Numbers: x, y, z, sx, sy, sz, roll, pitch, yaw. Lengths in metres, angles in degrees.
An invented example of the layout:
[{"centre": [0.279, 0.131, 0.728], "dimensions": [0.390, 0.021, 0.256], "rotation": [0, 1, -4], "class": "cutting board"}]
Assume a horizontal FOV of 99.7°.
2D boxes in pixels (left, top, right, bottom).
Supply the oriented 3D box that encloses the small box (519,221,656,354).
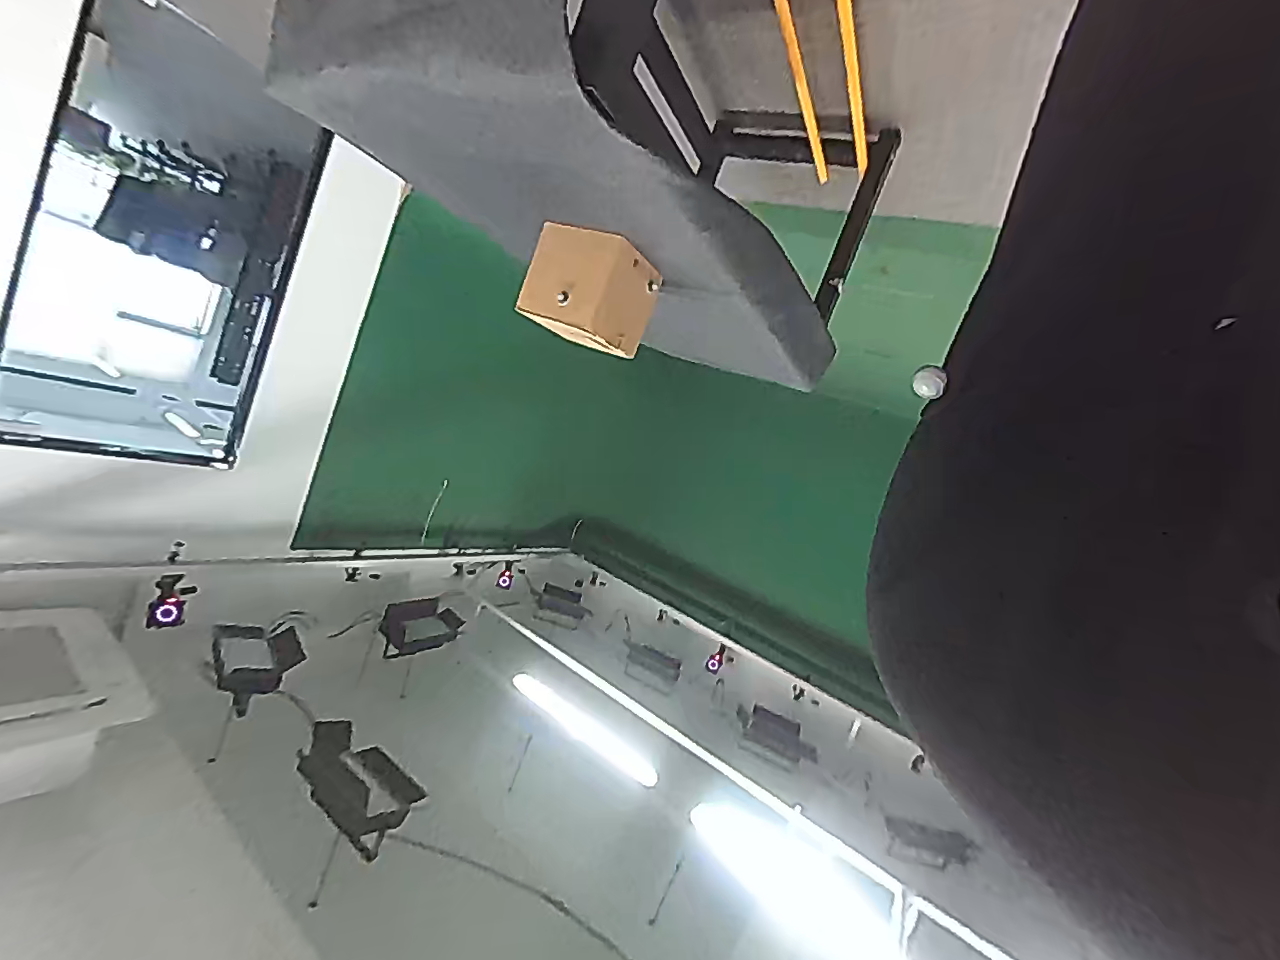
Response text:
[{"centre": [-0.089, -0.355, 1.004], "dimensions": [0.179, 0.176, 0.168], "rotation": [24, -174, 27], "class": "small box"}]
